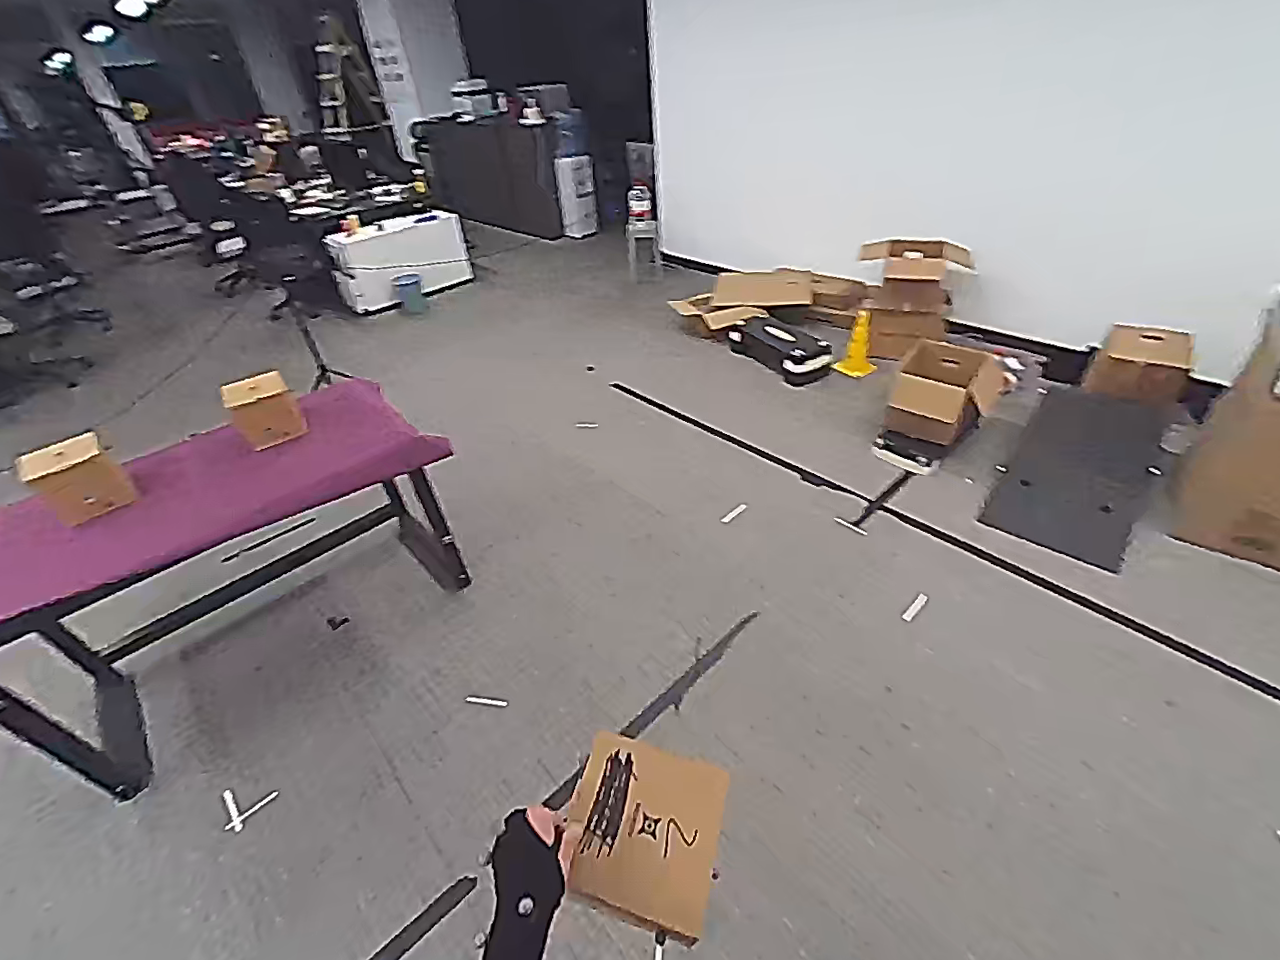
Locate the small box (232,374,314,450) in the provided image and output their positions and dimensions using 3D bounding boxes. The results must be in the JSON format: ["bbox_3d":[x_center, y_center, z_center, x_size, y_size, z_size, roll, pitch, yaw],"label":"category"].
[{"bbox_3d":[-1.220,-0.225,1.799,0.168,0.176,0.179,-27,45,-25],"label":"small box"}]

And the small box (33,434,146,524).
[{"bbox_3d":[-1.581,-0.001,1.558,0.179,0.176,0.168,29,50,35],"label":"small box"}]
